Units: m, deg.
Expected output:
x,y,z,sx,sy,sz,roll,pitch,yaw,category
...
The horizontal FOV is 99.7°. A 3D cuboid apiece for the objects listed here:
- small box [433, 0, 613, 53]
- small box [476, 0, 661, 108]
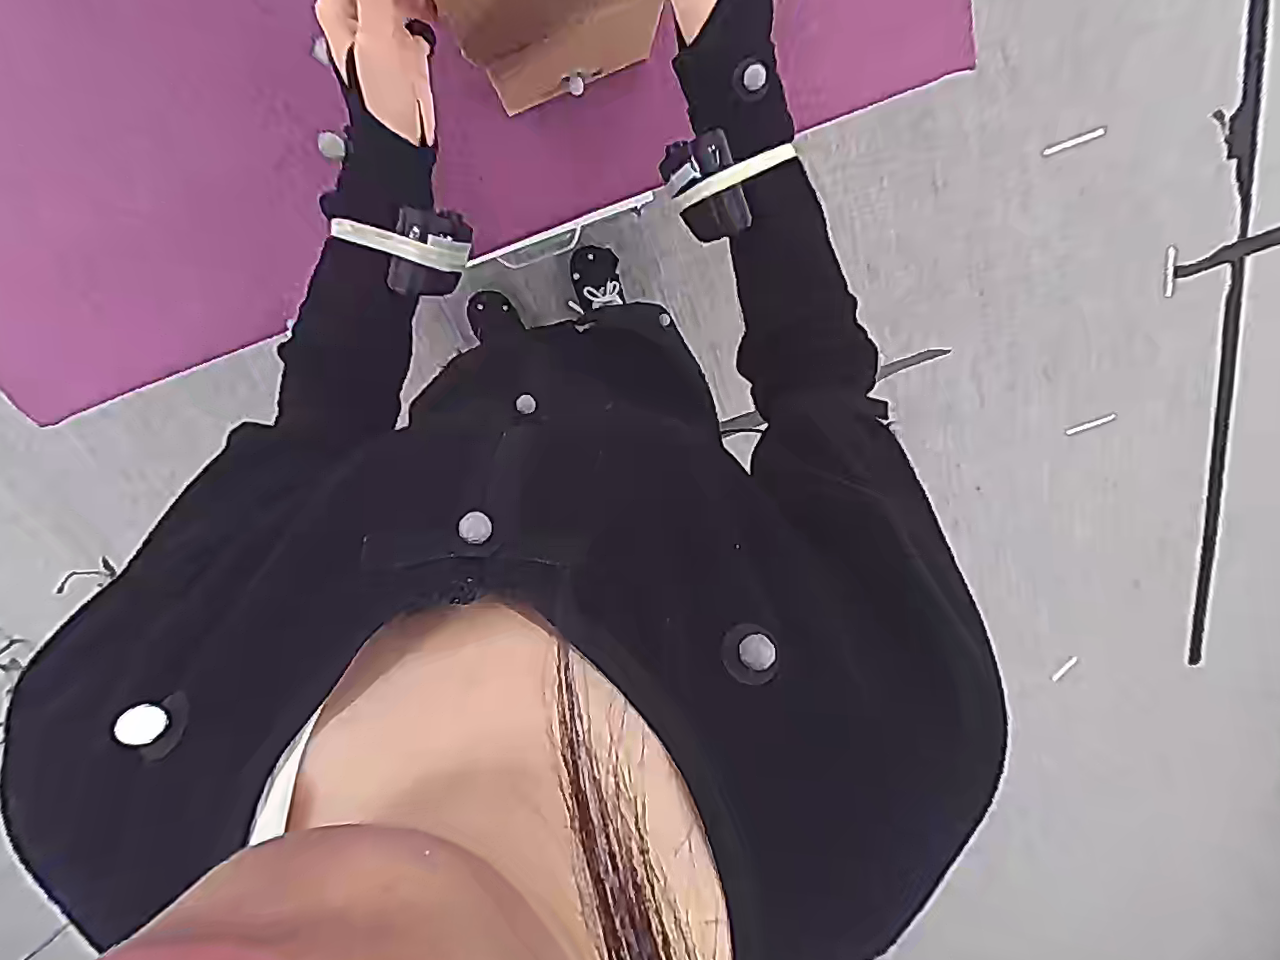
x,y,z,sx,sy,sz,roll,pitch,yaw,category
-0.077,-0.410,0.333,0.179,0.176,0.168,-20,114,4,small box
-0.092,-0.474,0.482,0.168,0.176,0.179,-21,114,3,small box
